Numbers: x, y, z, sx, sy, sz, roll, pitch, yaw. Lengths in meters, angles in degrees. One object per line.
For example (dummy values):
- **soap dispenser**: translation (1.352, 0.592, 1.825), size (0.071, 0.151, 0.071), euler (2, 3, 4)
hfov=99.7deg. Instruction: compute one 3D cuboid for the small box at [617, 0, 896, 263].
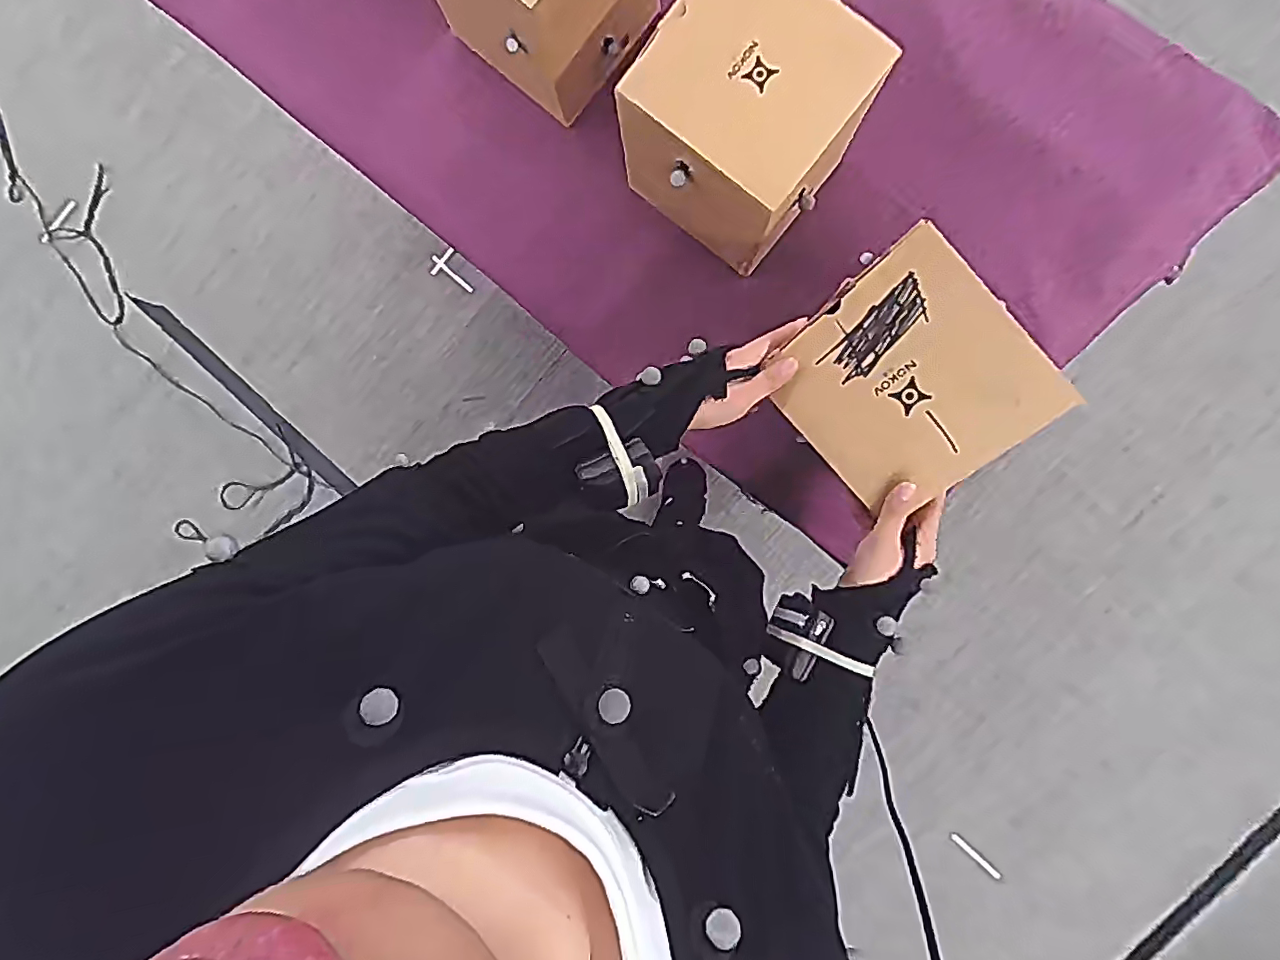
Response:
- **small box**: translation (0.102, -0.343, 0.532), size (0.179, 0.176, 0.168), euler (39, 94, 2)
